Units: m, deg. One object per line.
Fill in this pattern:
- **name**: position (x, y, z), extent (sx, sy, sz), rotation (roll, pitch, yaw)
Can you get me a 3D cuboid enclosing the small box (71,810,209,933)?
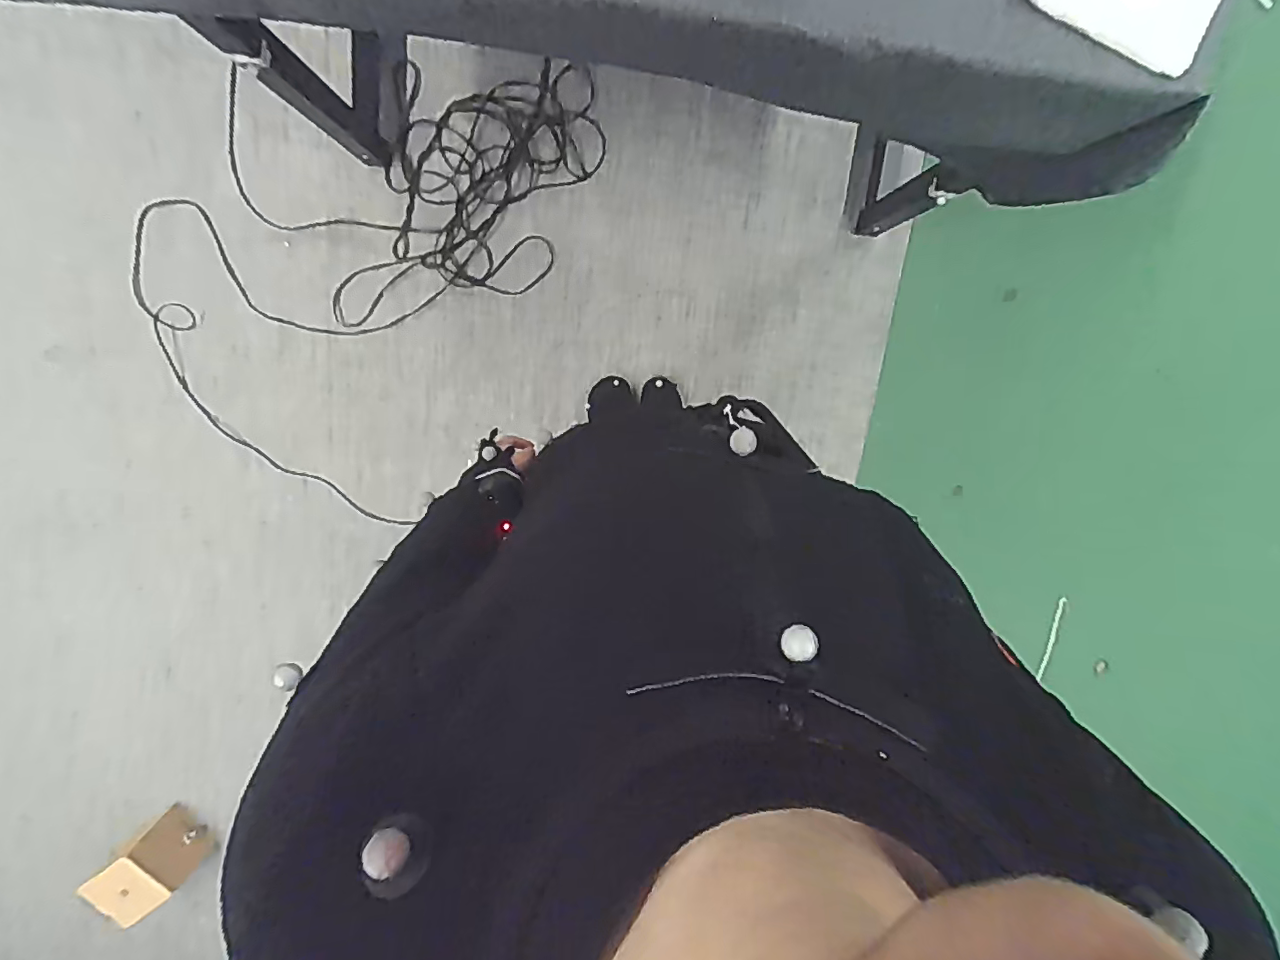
- **small box**: position (-1.326, 1.041, 1.450), extent (0.179, 0.176, 0.168), rotation (-36, 103, 4)
